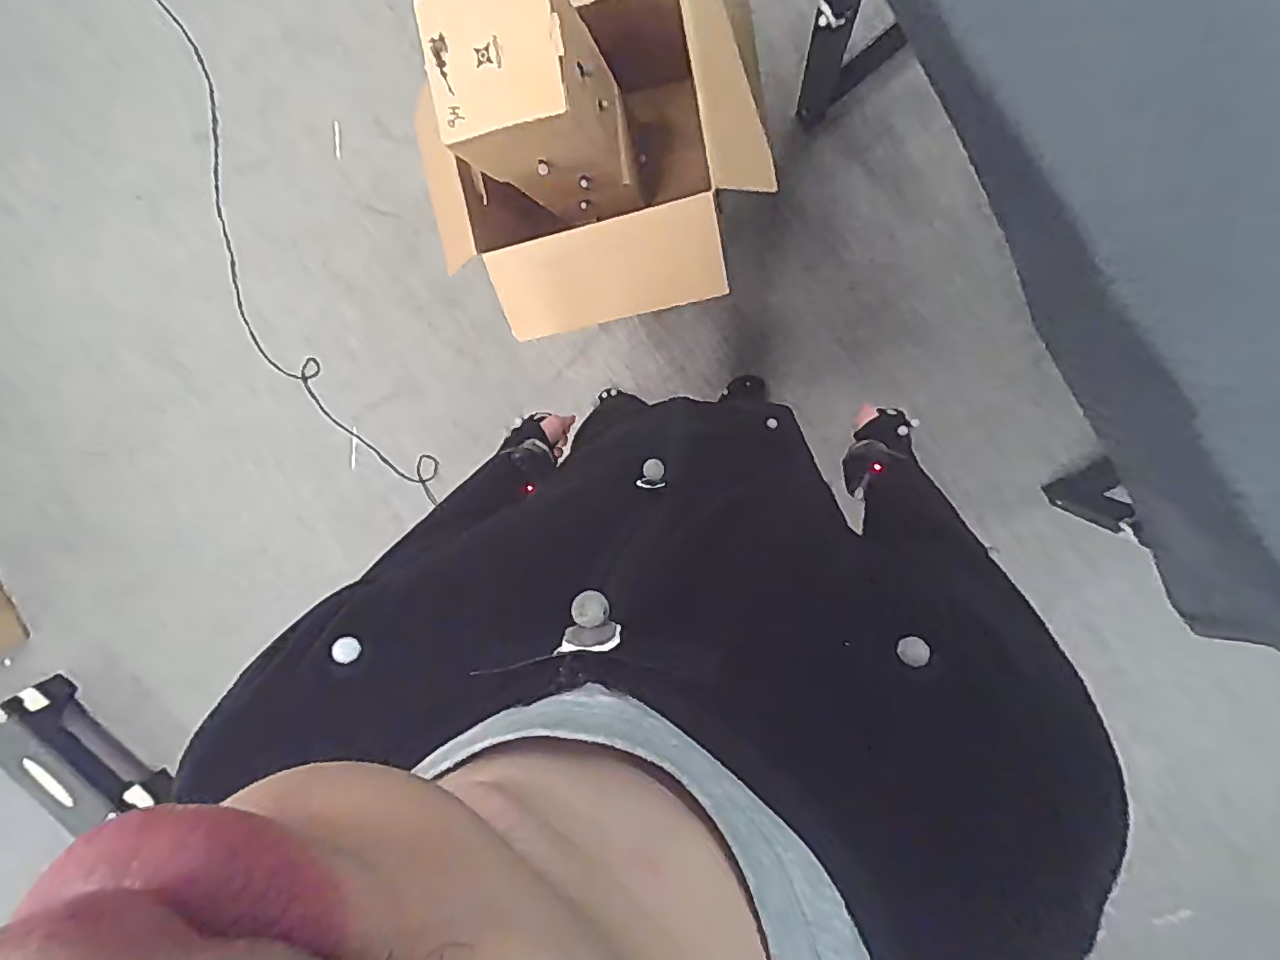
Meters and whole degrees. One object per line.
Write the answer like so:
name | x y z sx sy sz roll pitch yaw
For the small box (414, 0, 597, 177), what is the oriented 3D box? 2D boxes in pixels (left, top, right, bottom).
small box | -0.163 -0.531 0.723 0.179 0.176 0.168 -5 102 13
